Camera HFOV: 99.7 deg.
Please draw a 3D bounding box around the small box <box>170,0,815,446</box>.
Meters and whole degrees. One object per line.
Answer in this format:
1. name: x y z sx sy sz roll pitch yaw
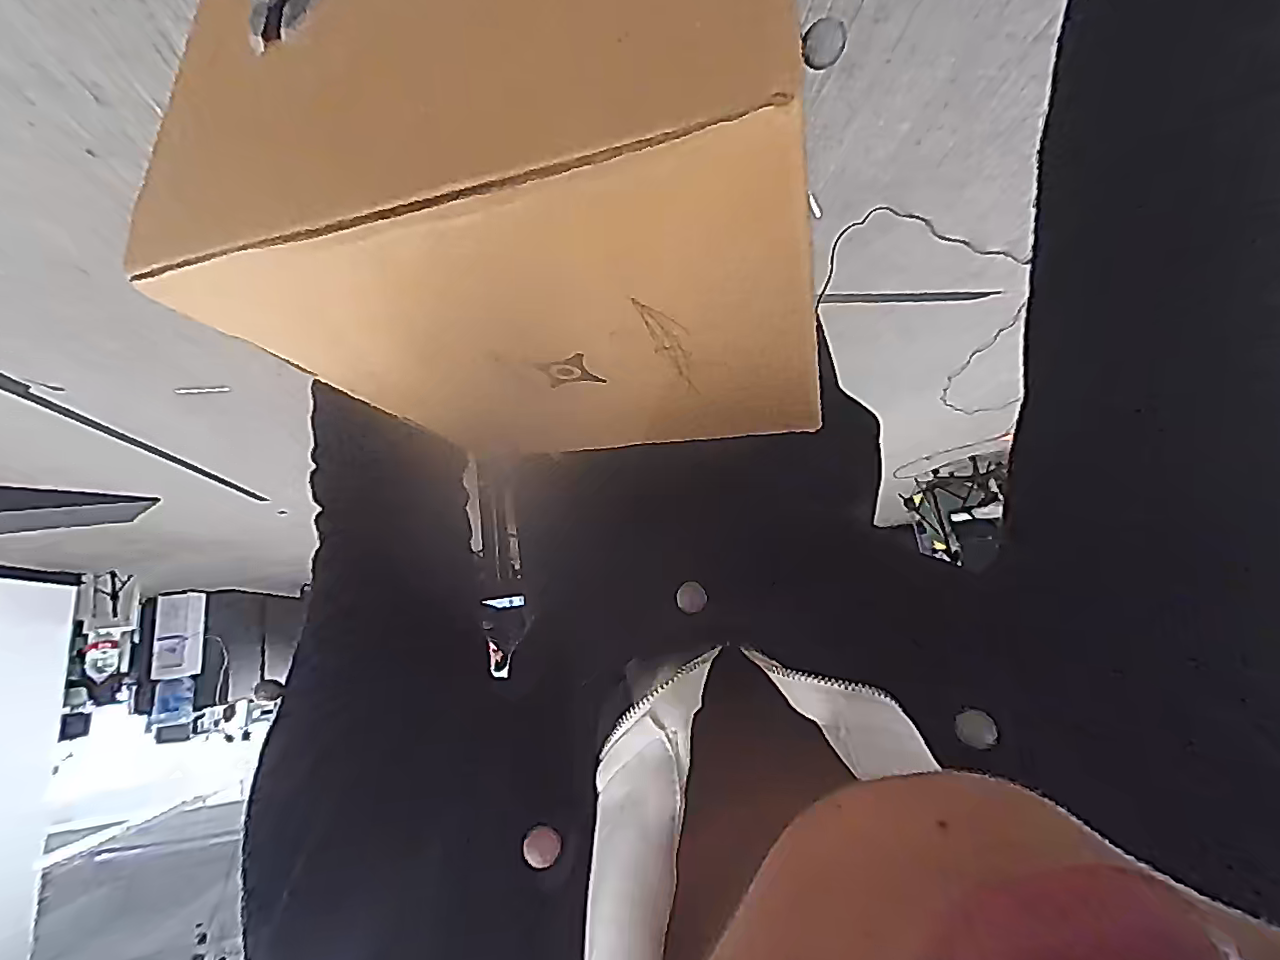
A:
1. small box: -0.026 -0.124 0.219 0.179 0.176 0.168 -5 165 19
